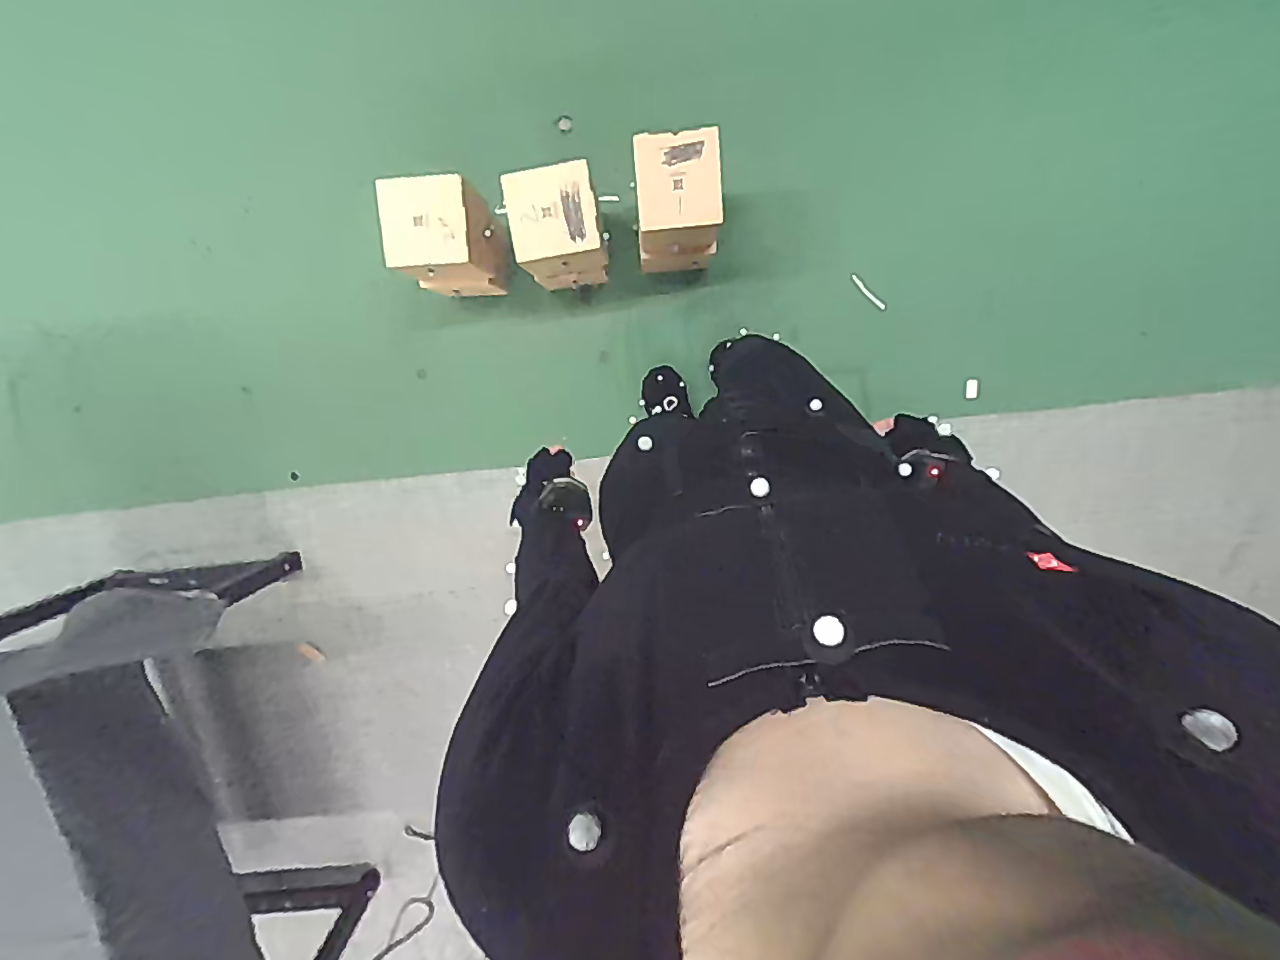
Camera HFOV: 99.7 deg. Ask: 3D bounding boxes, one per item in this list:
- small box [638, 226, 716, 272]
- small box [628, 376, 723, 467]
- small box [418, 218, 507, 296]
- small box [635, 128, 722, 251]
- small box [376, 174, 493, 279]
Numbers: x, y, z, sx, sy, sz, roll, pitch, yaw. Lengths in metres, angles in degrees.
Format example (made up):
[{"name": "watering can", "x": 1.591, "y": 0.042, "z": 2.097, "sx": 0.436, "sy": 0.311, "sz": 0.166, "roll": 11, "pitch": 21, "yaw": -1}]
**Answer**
[{"name": "small box", "x": 0.085, "y": -0.598, "z": 1.286, "sx": 0.179, "sy": 0.176, "sz": 0.168, "roll": -2, "pitch": 100, "yaw": 3}, {"name": "small box", "x": 0.085, "y": -0.154, "z": 1.383, "sx": 0.179, "sy": 0.176, "sz": 0.168, "roll": 27, "pitch": 116, "yaw": 16}, {"name": "small box", "x": -0.430, "y": -0.548, "z": 1.314, "sx": 0.168, "sy": 0.176, "sz": 0.179, "roll": -1, "pitch": 100, "yaw": 3}, {"name": "small box", "x": 0.076, "y": -0.592, "z": 1.121, "sx": 0.168, "sy": 0.176, "sz": 0.179, "roll": -4, "pitch": 100, "yaw": 2}, {"name": "small box", "x": -0.428, "y": -0.529, "z": 1.150, "sx": 0.179, "sy": 0.176, "sz": 0.168, "roll": -2, "pitch": 100, "yaw": 3}]
